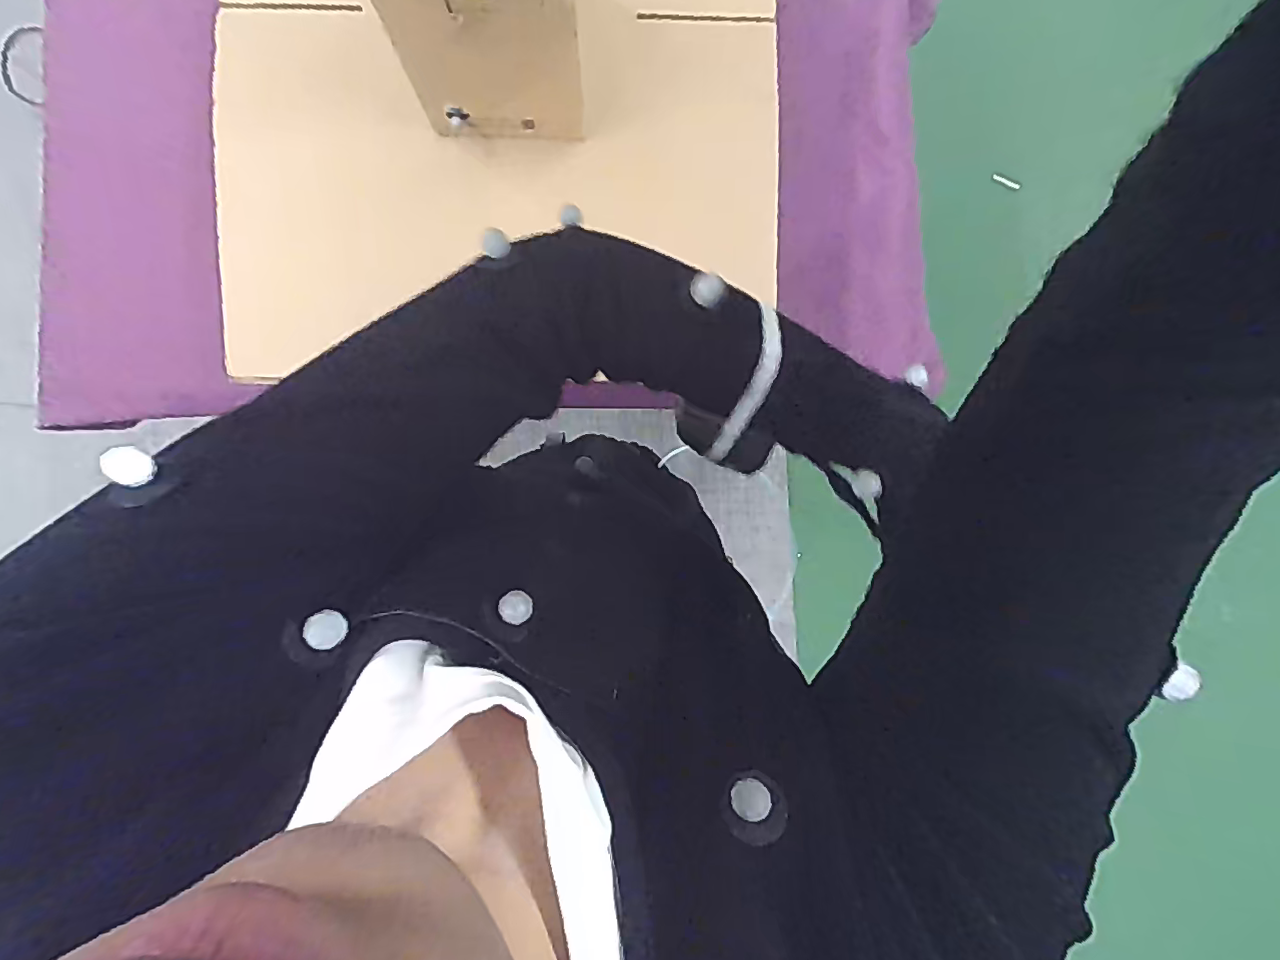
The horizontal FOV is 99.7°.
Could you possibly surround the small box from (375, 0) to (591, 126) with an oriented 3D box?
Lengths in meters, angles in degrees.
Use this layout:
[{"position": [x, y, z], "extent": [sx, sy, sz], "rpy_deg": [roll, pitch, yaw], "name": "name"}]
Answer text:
[{"position": [-0.134, -0.462, 0.502], "extent": [0.168, 0.176, 0.179], "rpy_deg": [-3, 89, -3], "name": "small box"}]
